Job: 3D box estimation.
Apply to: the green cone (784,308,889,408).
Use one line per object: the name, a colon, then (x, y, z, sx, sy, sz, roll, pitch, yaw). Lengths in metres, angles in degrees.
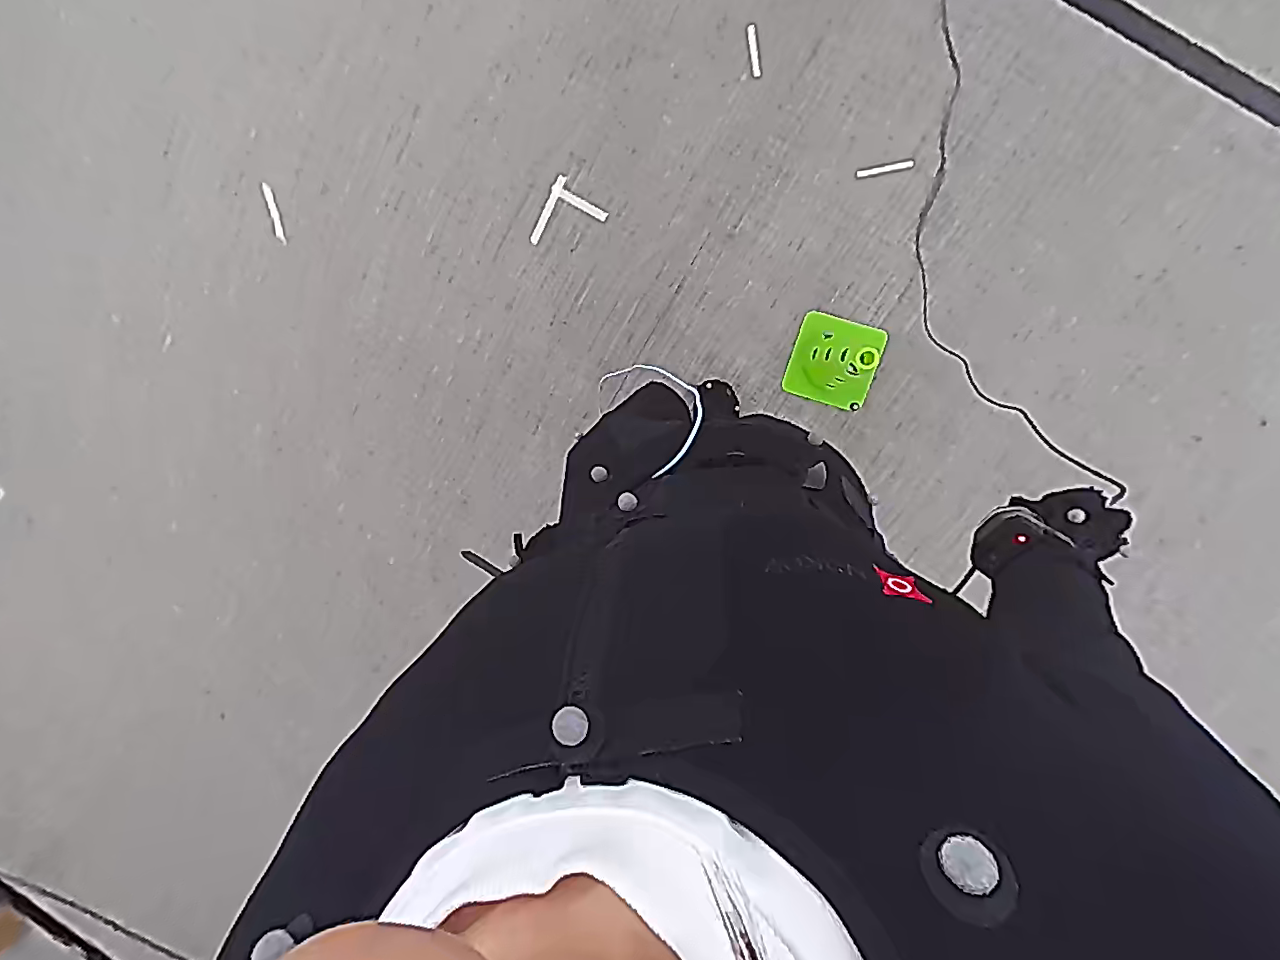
green cone: (0.435, -0.262, 1.129, 0.202, 0.368, 0.200, 18, 103, 8)
